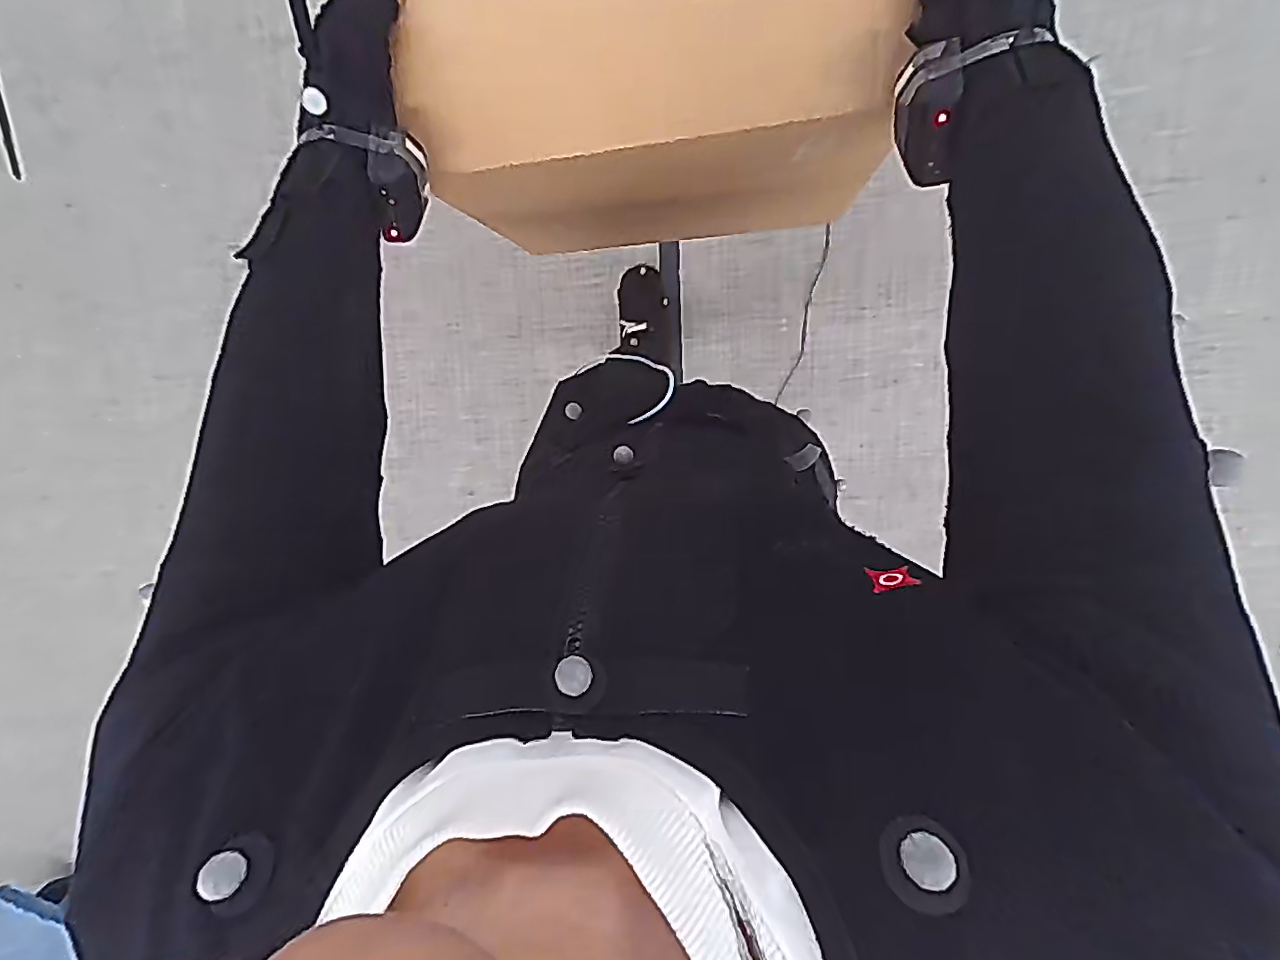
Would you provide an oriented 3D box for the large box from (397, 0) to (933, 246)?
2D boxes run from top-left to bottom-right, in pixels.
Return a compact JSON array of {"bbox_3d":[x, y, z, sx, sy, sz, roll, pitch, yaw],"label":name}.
[{"bbox_3d":[0.020,-0.450,0.536,0.408,0.320,0.320,-3,101,9],"label":"large box"}]
